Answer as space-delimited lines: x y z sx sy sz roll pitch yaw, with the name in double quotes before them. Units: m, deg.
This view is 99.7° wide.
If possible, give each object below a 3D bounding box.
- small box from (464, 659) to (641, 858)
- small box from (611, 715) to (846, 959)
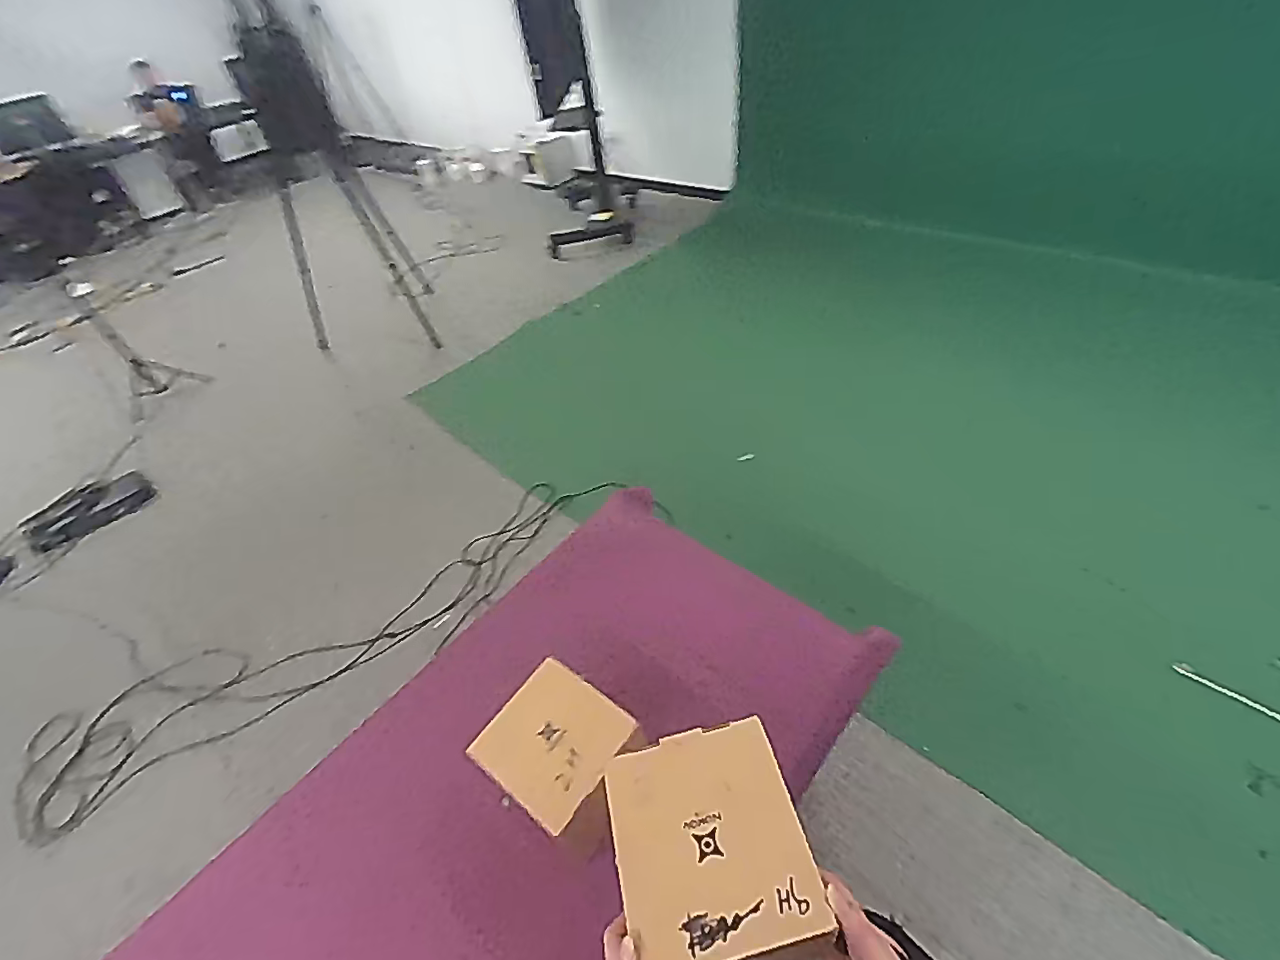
"small box" -0.112 0.400 0.775 0.179 0.176 0.168 25 55 30
"small box" 0.077 0.366 0.524 0.168 0.176 0.179 -15 41 -1
